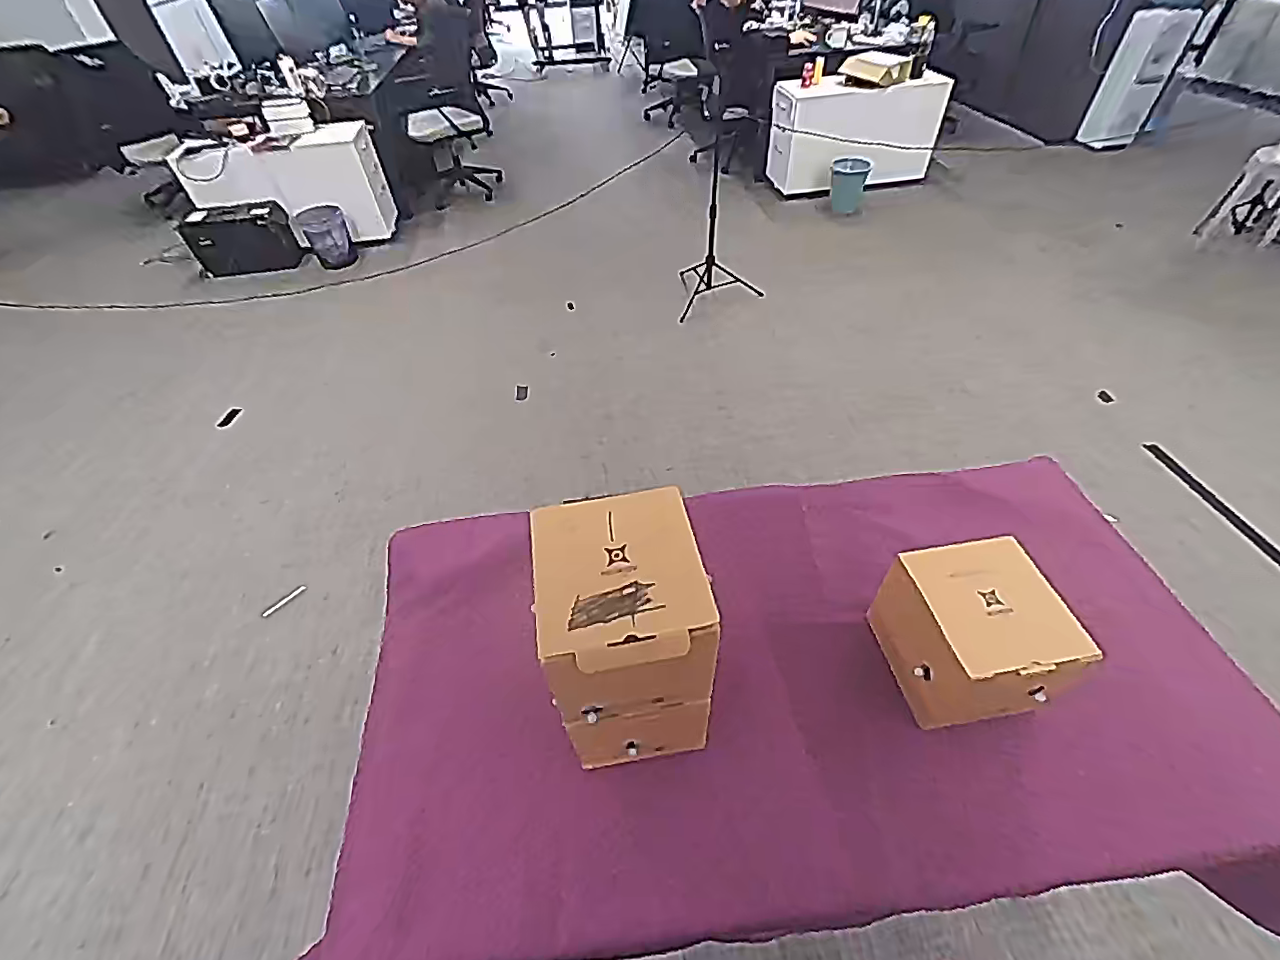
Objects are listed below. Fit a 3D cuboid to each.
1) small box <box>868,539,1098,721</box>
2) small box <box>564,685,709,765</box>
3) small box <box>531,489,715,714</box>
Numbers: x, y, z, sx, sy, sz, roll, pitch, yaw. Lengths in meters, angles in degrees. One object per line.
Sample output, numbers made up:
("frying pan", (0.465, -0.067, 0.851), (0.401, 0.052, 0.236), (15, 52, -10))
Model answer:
("small box", (0.435, 0.206, 0.724), (0.168, 0.176, 0.179), (-8, 47, -4))
("small box", (-0.012, 0.249, 0.713), (0.168, 0.176, 0.179), (-8, 49, -4))
("small box", (-0.020, 0.138, 0.592), (0.168, 0.176, 0.179), (-9, 48, -5))
